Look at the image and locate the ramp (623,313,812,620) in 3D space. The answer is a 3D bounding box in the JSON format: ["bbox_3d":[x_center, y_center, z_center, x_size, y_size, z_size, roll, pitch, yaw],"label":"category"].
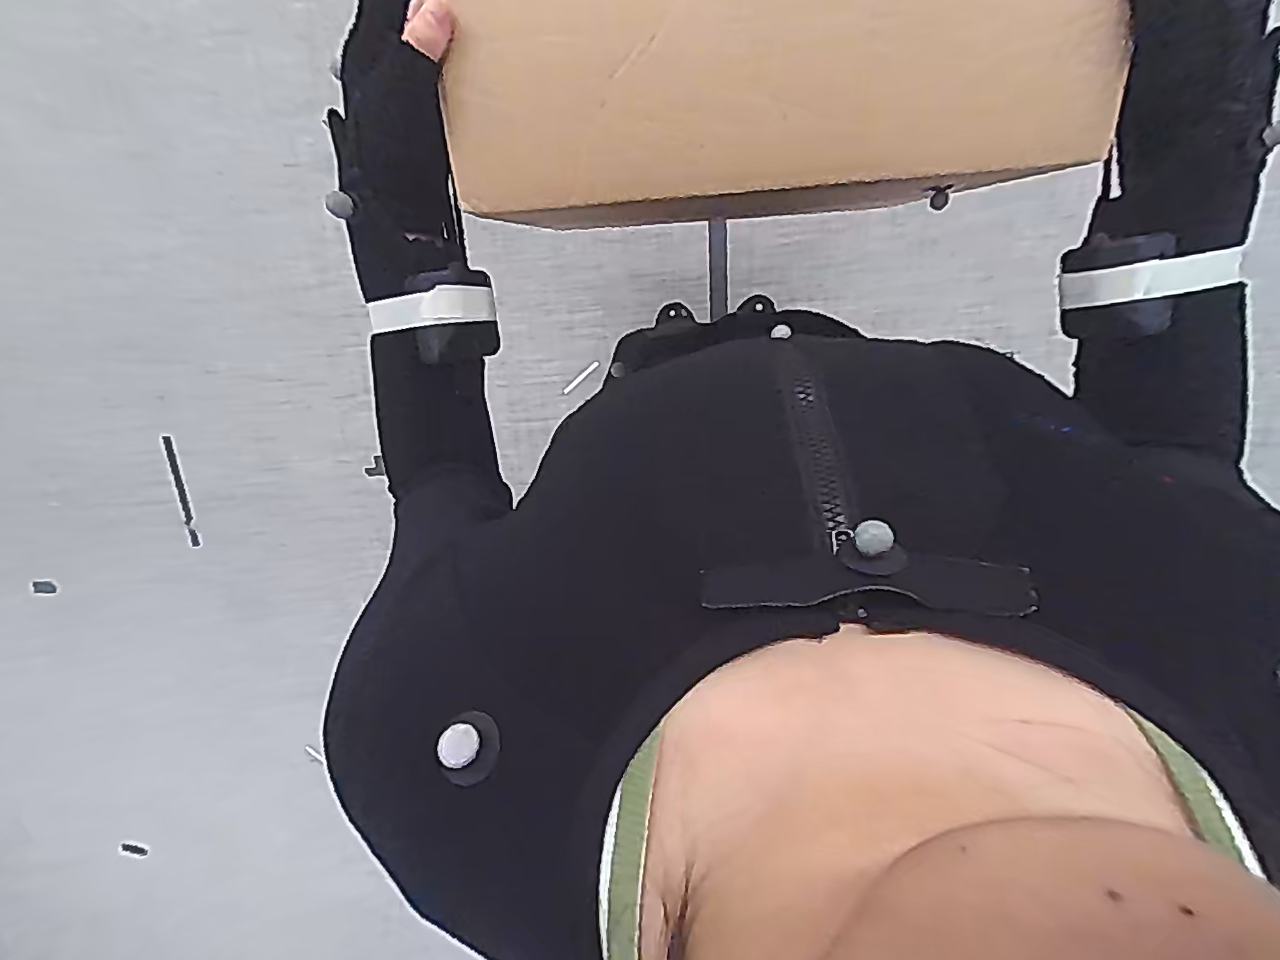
[{"bbox_3d":[0.239,0.028,1.612,0.509,0.206,0.991,-4,107,6],"label":"ramp"}]

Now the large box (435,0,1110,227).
[{"bbox_3d":[0.079,-0.392,0.435,0.408,0.320,0.320,-3,112,4],"label":"large box"}]
